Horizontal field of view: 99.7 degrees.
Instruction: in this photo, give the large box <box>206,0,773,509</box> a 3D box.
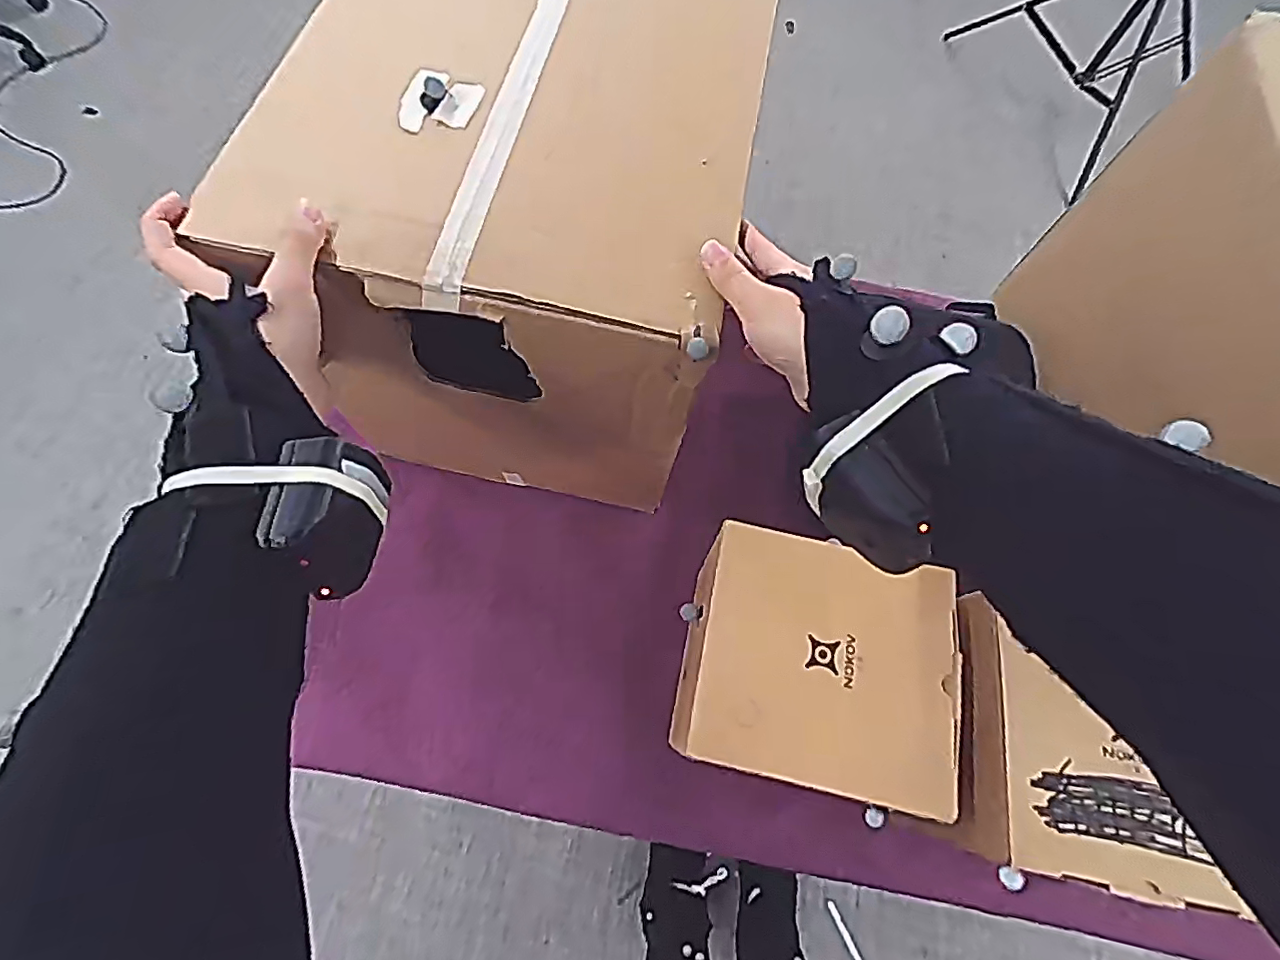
[{"bbox_3d":[-0.081,-0.226,0.518,0.320,0.320,0.408,11,70,1],"label":"large box"}]
